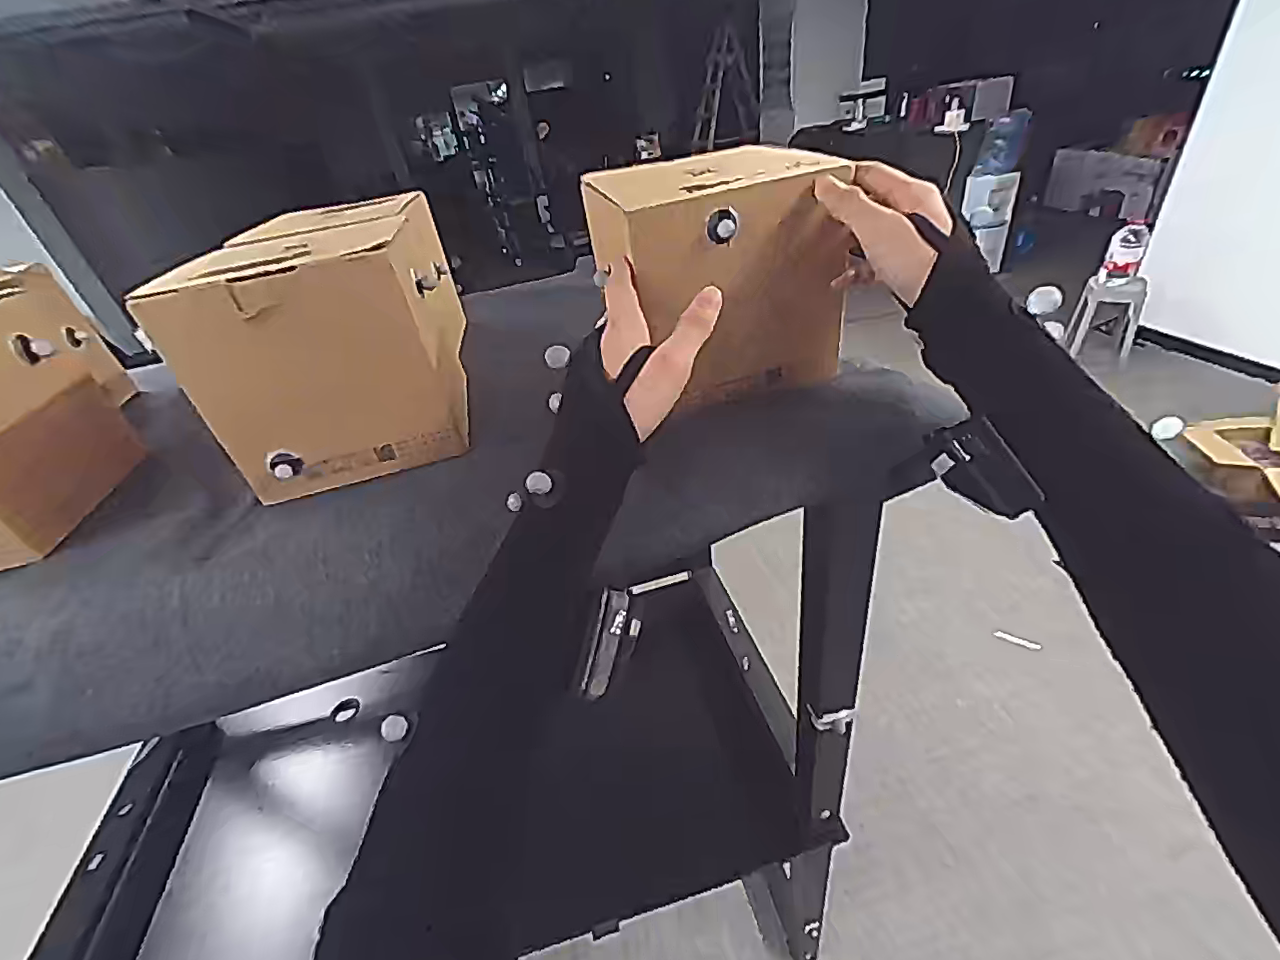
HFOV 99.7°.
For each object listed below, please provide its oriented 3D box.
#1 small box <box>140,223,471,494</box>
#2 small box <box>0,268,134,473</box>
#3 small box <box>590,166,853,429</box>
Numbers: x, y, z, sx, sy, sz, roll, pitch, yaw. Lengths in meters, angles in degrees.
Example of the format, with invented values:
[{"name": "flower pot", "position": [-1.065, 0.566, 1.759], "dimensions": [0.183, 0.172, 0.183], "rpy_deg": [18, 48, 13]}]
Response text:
[{"name": "small box", "position": [-0.252, -0.104, 0.466], "dimensions": [0.168, 0.176, 0.179], "rpy_deg": [-16, 35, -9]}, {"name": "small box", "position": [-0.717, -0.109, 0.581], "dimensions": [0.179, 0.176, 0.168], "rpy_deg": [-16, 35, -10]}, {"name": "small box", "position": [0.061, -0.166, 0.478], "dimensions": [0.168, 0.176, 0.179], "rpy_deg": [-16, 35, -7]}]
